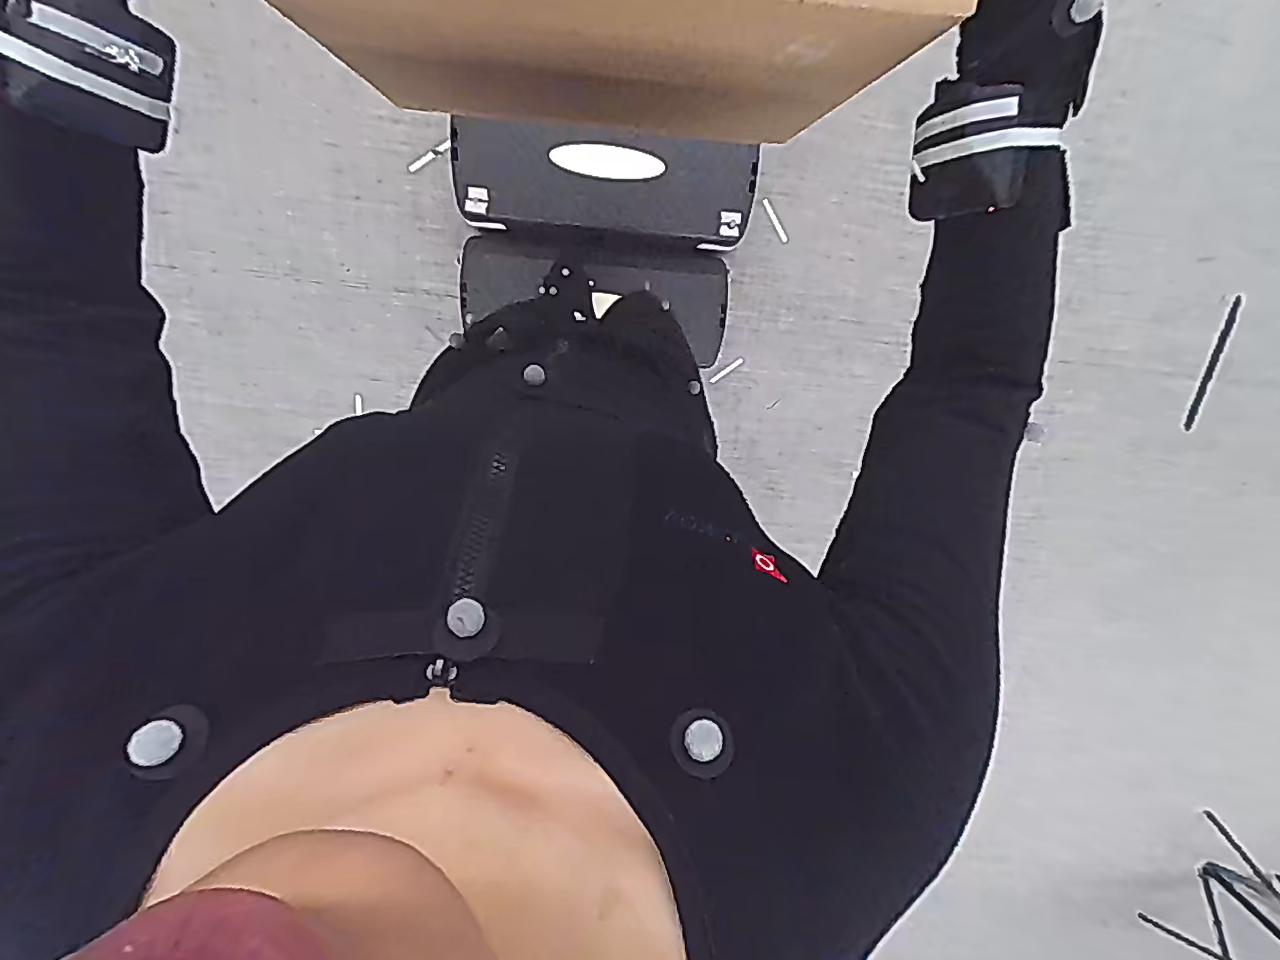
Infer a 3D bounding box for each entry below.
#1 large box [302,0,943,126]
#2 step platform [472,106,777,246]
[{"bbox_3d":[-0.023,-0.466,0.367,0.408,0.320,0.320,1,112,-6],"label":"large box"},{"bbox_3d":[-0.035,-0.730,1.258,0.684,0.204,0.286,3,108,-6],"label":"step platform"}]
